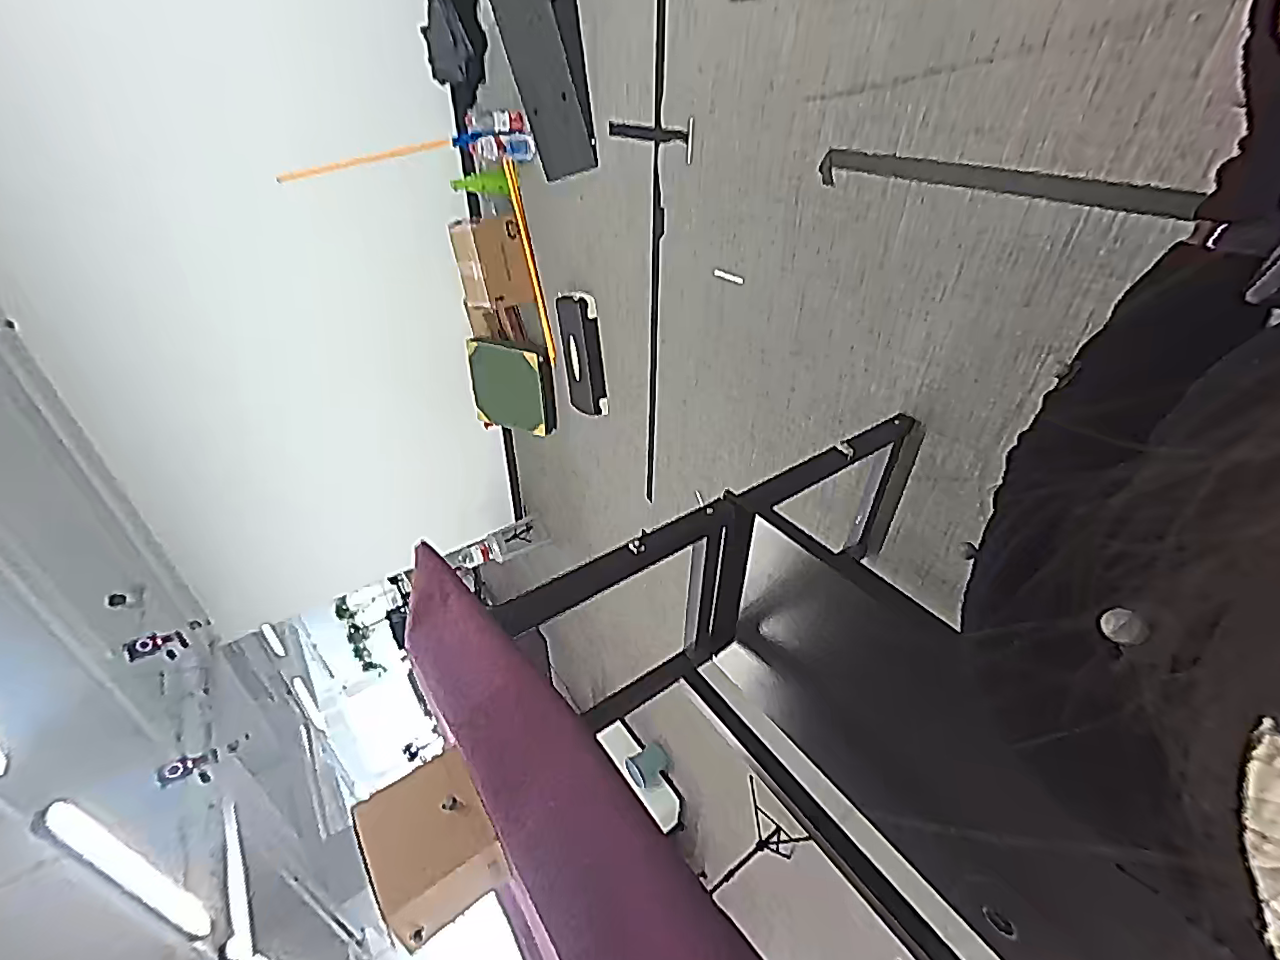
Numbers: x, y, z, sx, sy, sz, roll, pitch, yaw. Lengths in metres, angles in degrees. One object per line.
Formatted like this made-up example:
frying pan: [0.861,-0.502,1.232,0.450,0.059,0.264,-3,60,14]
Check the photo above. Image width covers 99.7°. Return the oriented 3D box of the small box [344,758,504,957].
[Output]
small box: [-0.328,0.568,0.838,0.179,0.176,0.168,40,142,40]
